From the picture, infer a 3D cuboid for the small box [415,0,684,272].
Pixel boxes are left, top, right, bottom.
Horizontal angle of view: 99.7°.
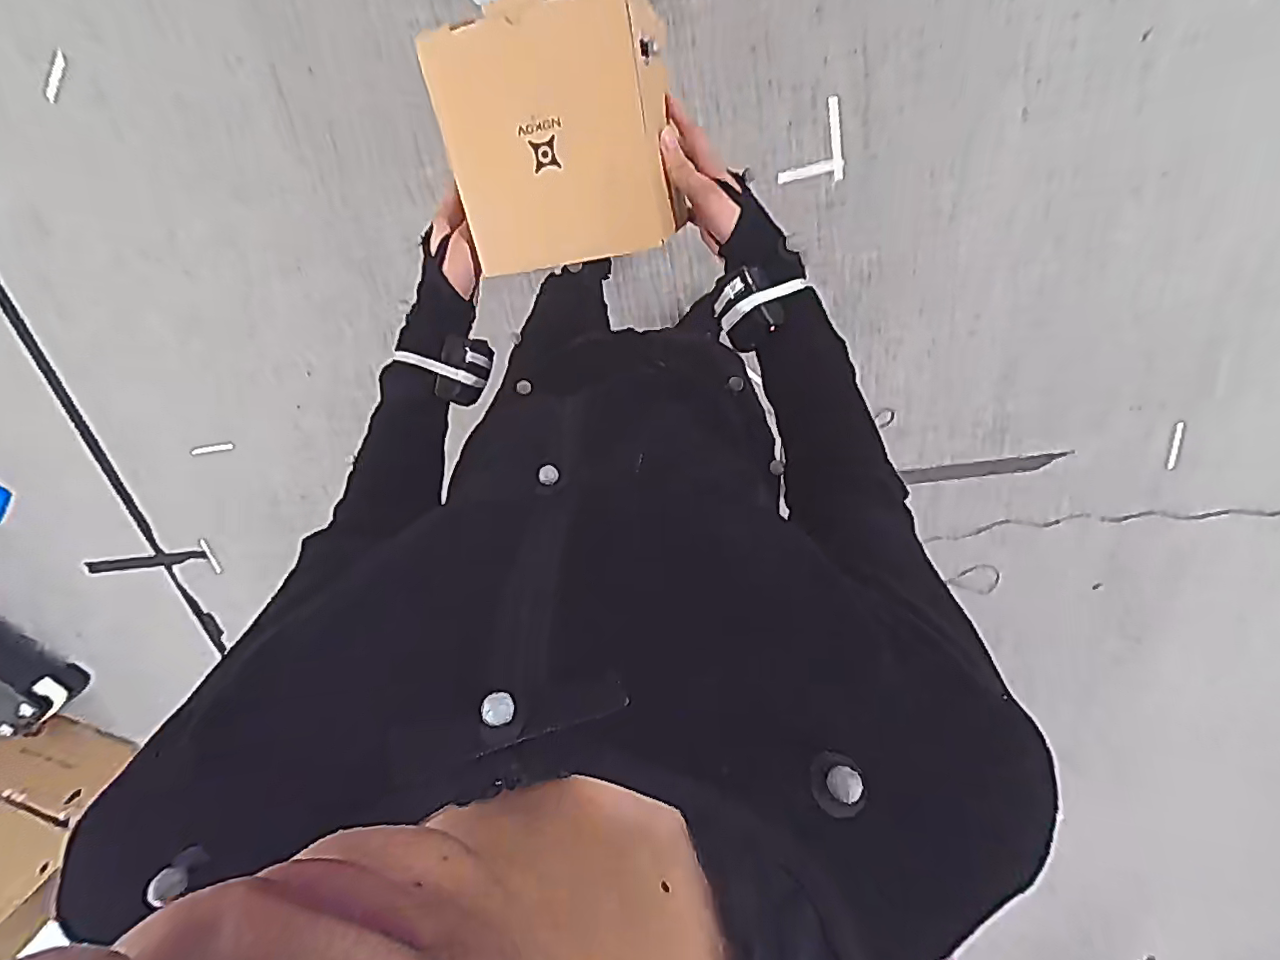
[{"bbox_3d":[-0.060,-0.305,0.490,0.168,0.176,0.179,-4,118,16],"label":"small box"}]
